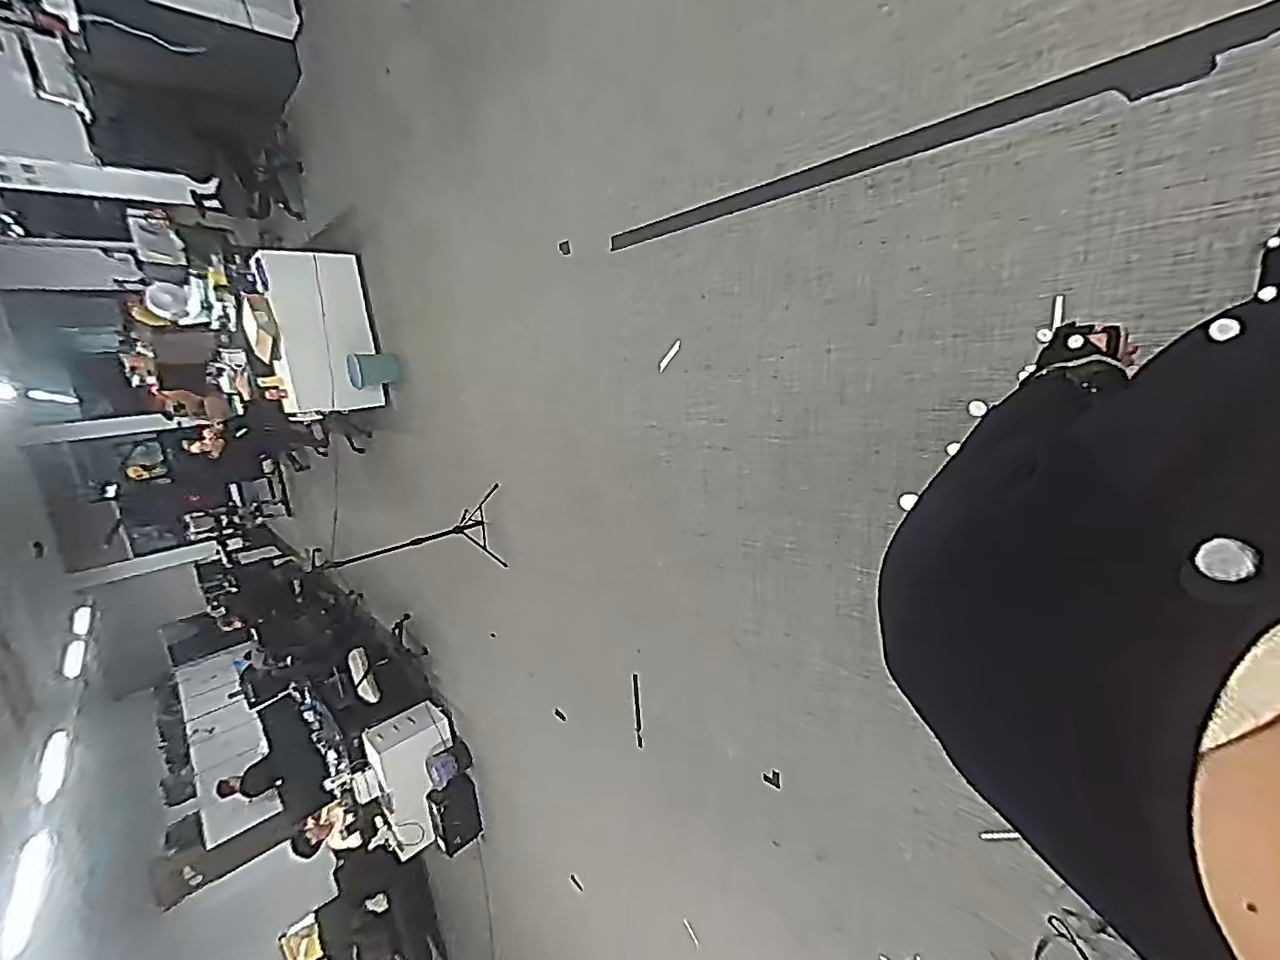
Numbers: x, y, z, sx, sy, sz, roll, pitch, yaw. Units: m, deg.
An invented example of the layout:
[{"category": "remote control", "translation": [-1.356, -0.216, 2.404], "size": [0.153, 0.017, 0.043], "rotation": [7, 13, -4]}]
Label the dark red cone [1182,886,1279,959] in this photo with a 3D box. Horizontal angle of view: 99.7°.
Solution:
[{"category": "dark red cone", "translation": [1.090, 0.964, 0.956], "size": [0.201, 0.394, 0.202], "rotation": [9, 110, 47]}]
